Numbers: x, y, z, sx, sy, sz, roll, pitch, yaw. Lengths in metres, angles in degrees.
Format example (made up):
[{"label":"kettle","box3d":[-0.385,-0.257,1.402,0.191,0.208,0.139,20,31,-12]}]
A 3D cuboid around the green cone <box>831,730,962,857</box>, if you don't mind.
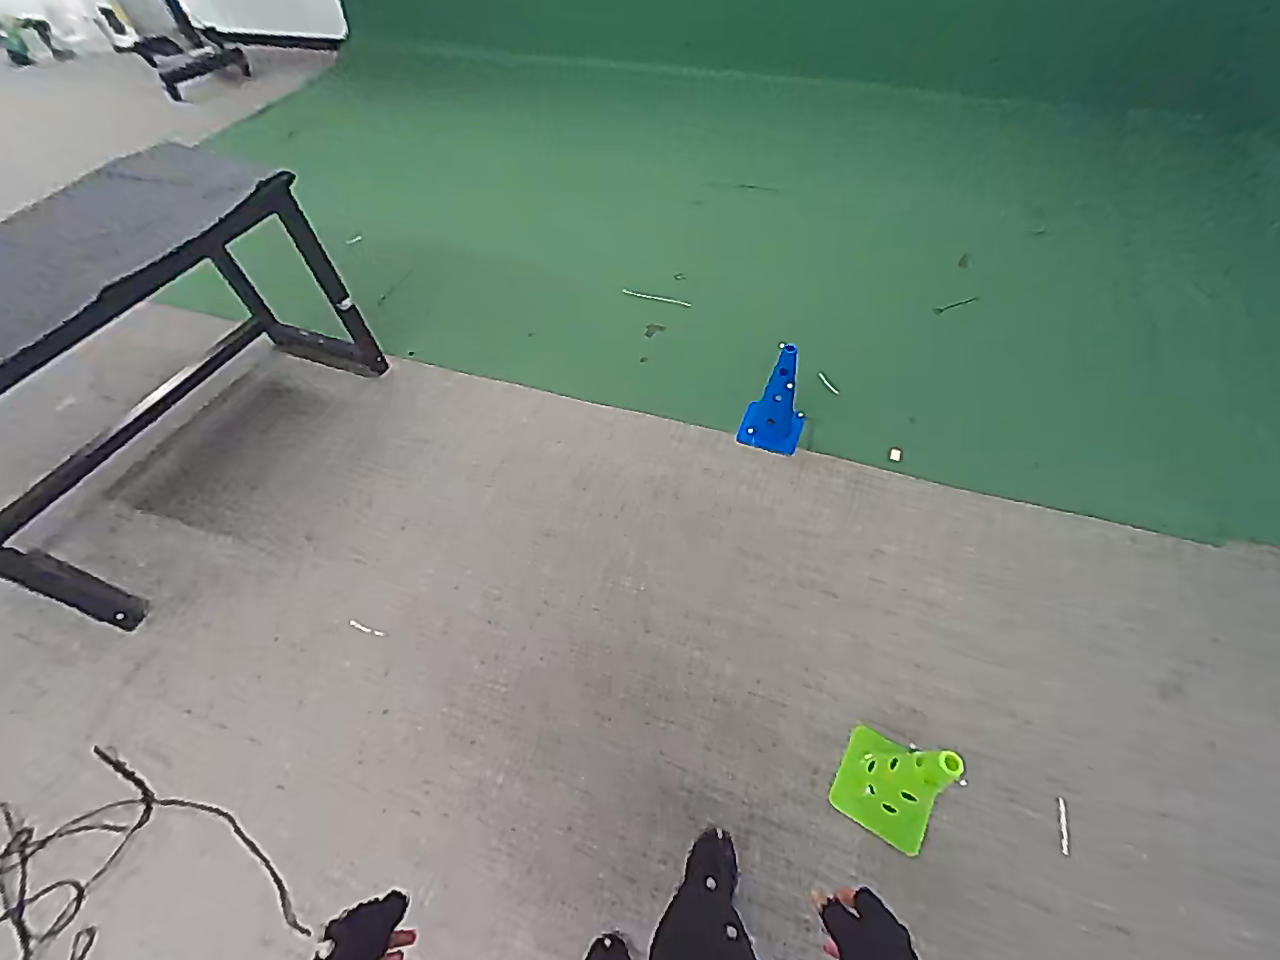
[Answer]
[{"label":"green cone","box3d":[0.550,0.602,1.091,0.200,0.368,0.202,25,59,20]}]
